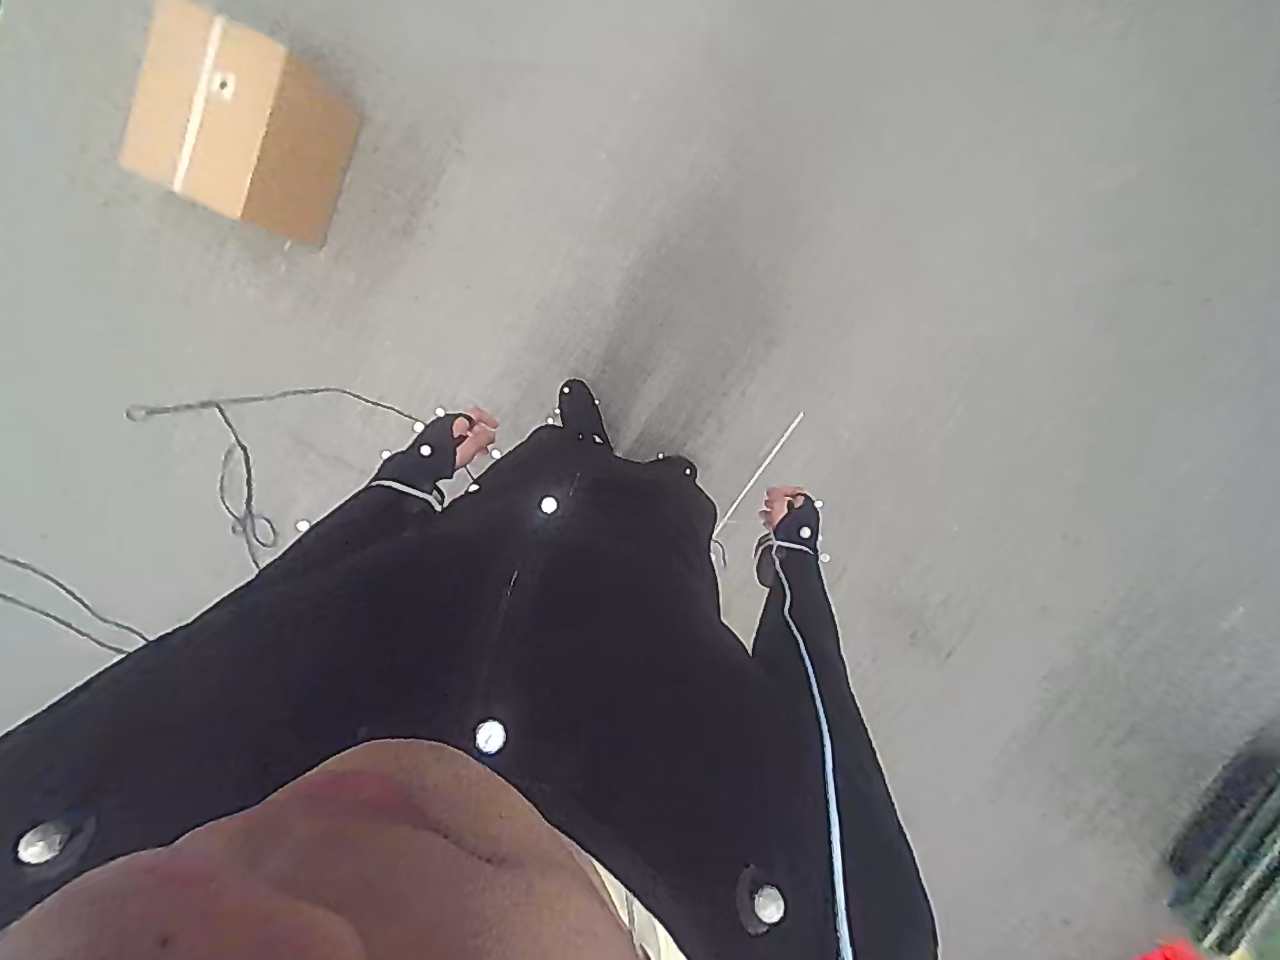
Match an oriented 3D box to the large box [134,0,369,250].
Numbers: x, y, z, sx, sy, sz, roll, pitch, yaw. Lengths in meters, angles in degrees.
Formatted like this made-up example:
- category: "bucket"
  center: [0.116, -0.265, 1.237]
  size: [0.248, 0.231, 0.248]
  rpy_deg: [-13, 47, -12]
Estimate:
- category: "large box"
  center: [-0.985, -0.885, 1.406]
  size: [0.320, 0.320, 0.408]
  rpy_deg: [25, 99, -1]
